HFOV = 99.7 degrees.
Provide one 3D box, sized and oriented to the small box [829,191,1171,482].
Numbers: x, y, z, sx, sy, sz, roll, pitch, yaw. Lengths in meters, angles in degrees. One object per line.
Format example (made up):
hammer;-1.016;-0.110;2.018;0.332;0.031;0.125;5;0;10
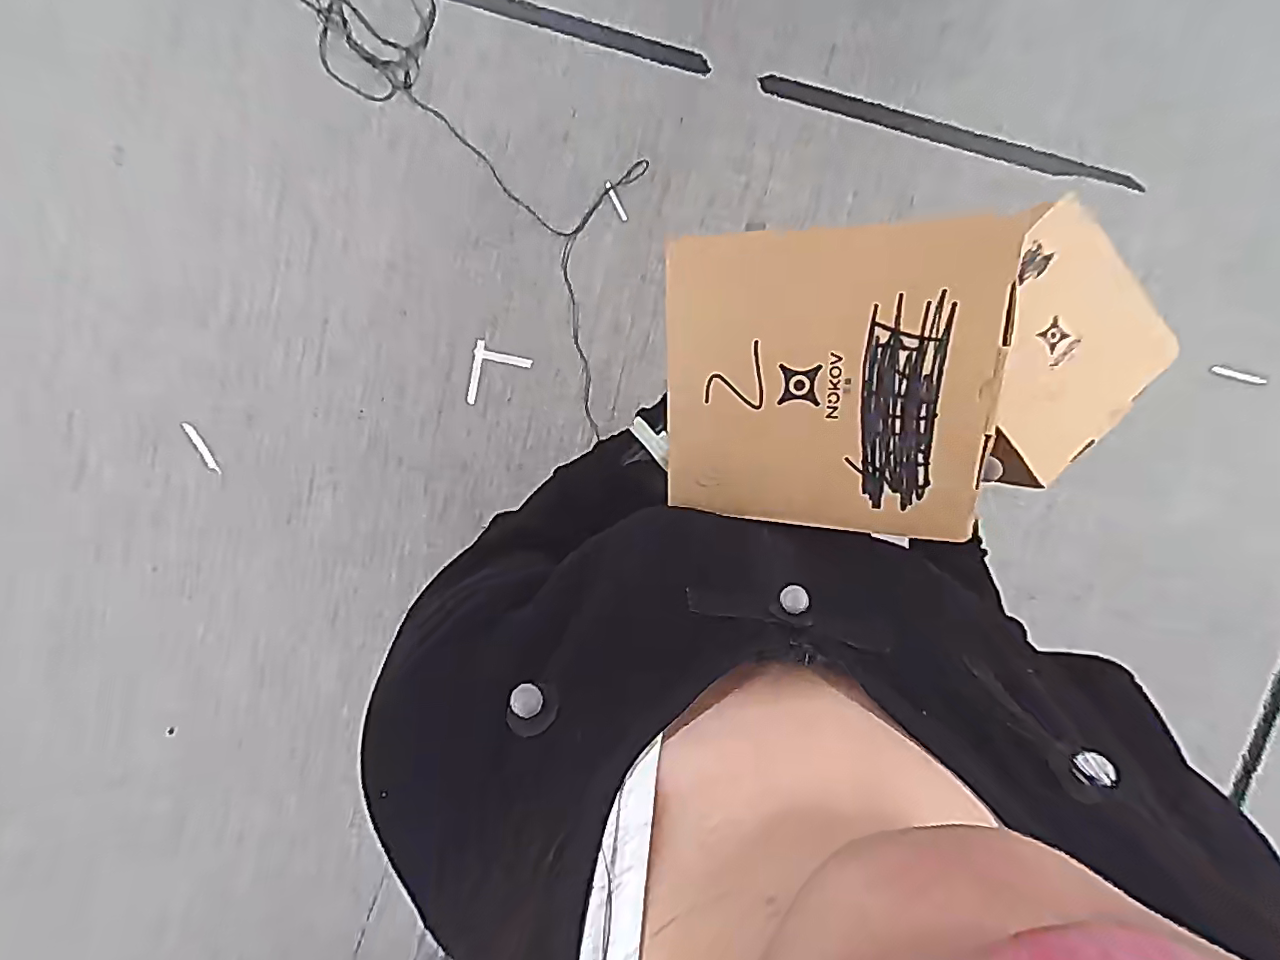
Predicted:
small box;0.323;-0.125;0.516;0.168;0.176;0.179;-43;102;-1
